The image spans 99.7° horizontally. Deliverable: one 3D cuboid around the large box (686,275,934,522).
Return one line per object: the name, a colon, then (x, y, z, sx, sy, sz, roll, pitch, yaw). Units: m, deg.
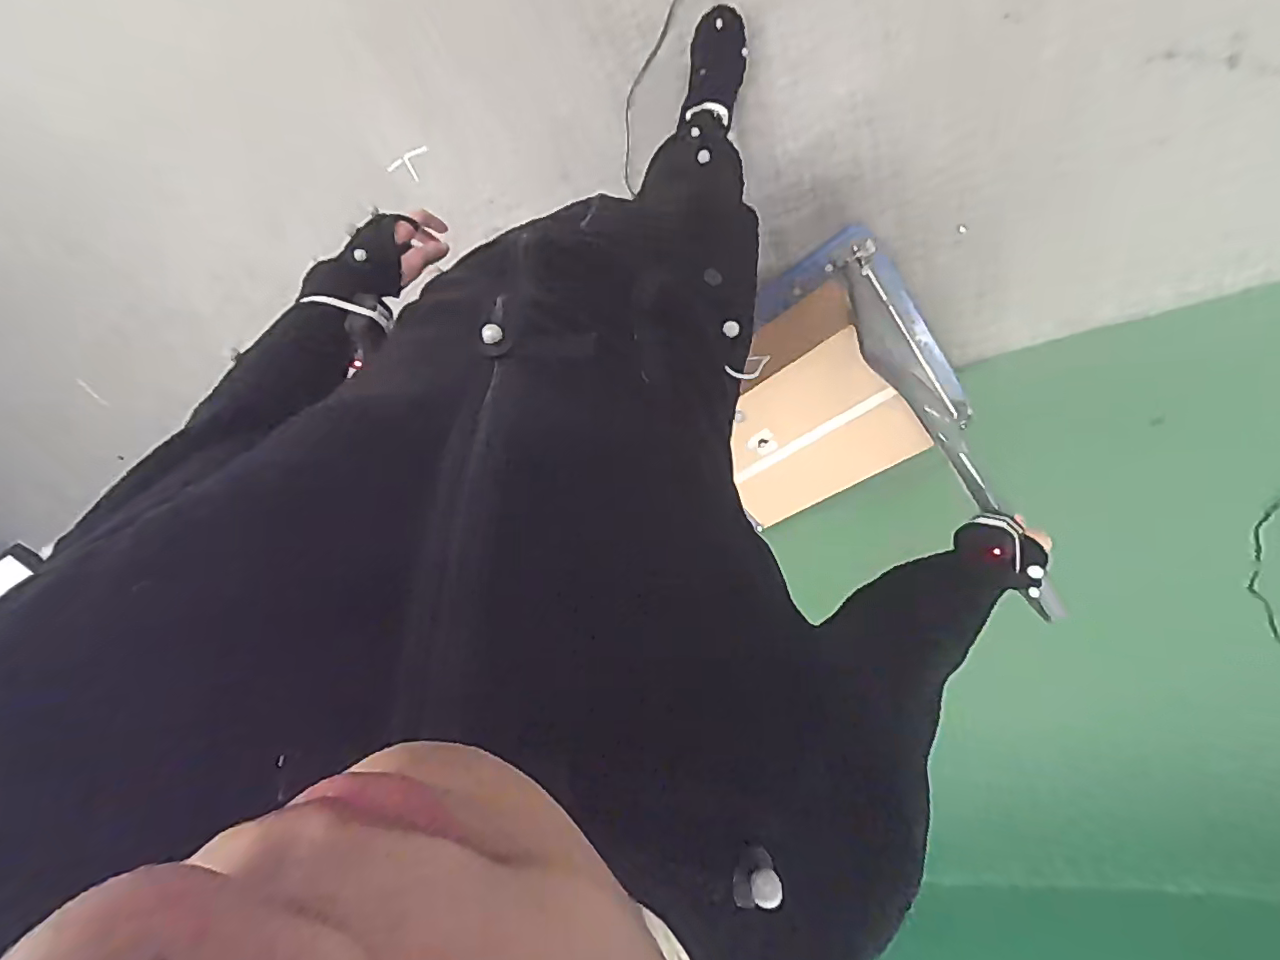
large box: (0.365, -0.180, 1.225, 0.408, 0.320, 0.320, -32, 113, 31)
